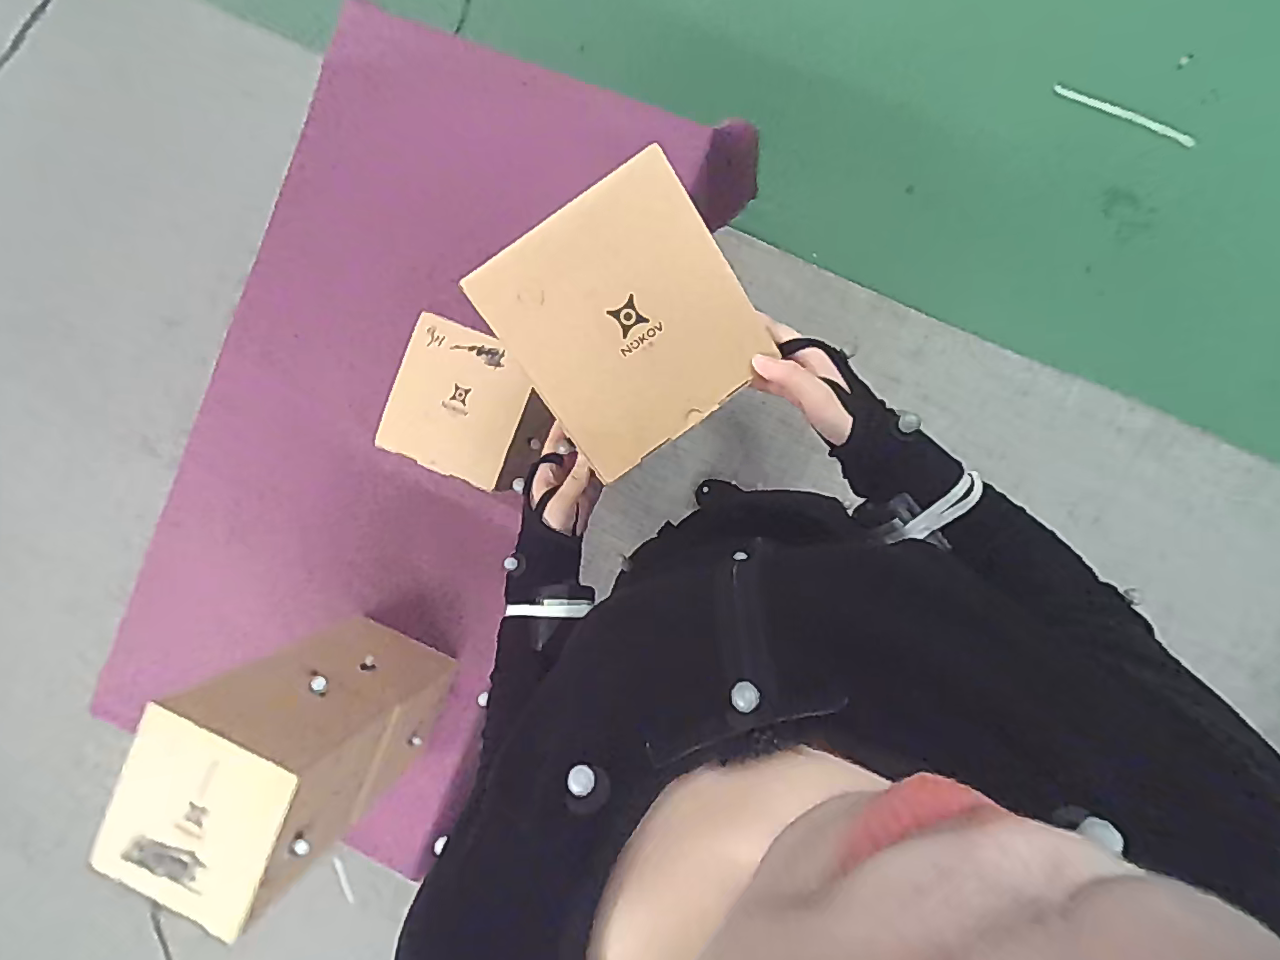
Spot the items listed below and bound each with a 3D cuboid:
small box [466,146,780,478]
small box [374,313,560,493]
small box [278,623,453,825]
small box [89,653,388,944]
[{"bbox_3d":[-0.020,-0.128,0.459,0.168,0.176,0.179,-35,106,-2],"label":"small box"},{"bbox_3d":[-0.211,-0.094,0.725,0.168,0.176,0.179,22,93,6],"label":"small box"},{"bbox_3d":[-0.389,0.316,0.744,0.179,0.176,0.168,22,91,6],"label":"small box"},{"bbox_3d":[-0.407,0.318,0.580,0.168,0.176,0.179,22,91,6],"label":"small box"}]
